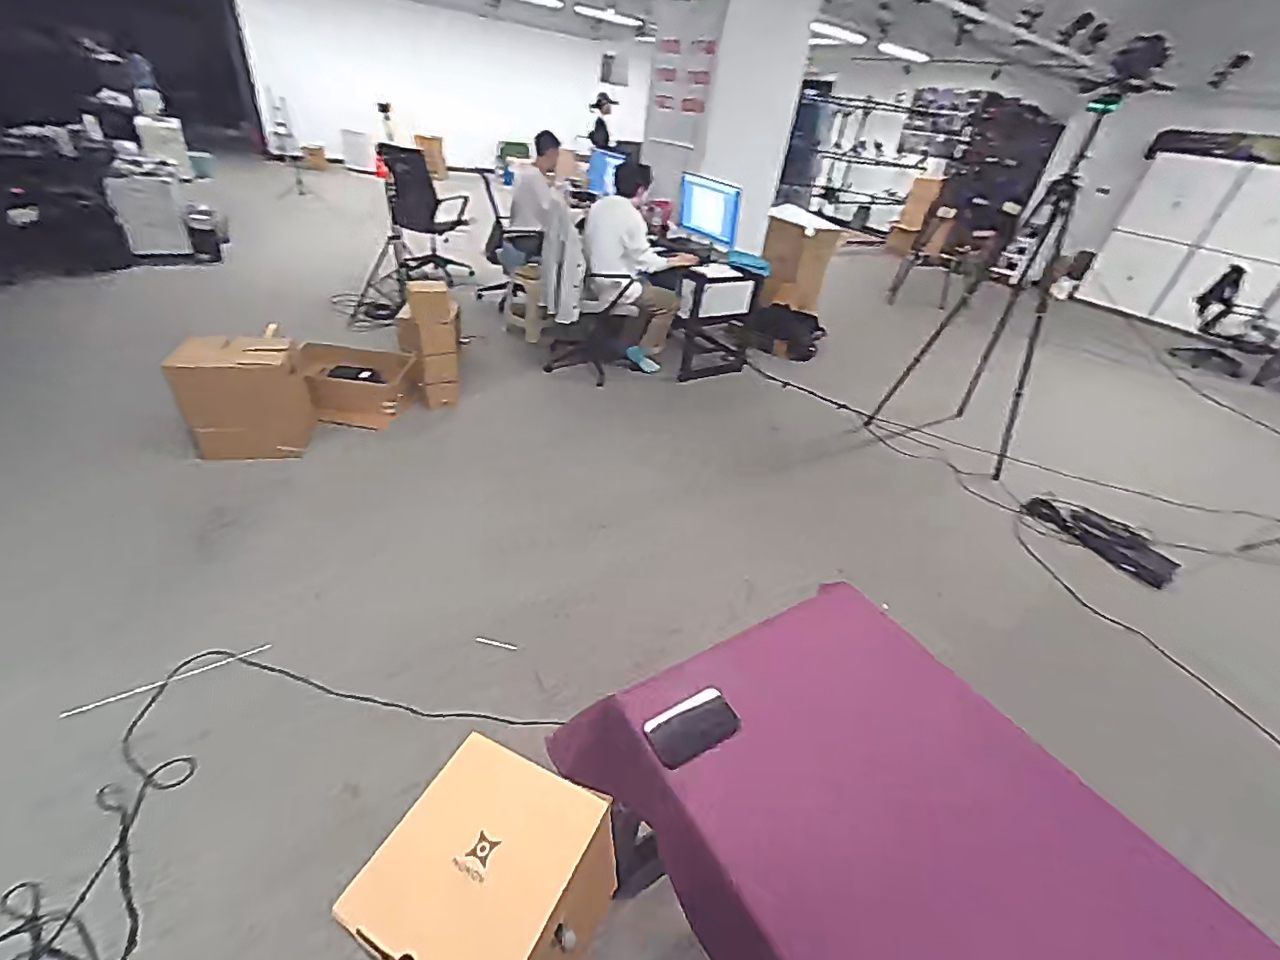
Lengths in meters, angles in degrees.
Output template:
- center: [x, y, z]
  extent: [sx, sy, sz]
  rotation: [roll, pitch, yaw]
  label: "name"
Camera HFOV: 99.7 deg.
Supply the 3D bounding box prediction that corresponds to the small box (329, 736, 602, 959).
- center: [-0.147, 0.396, 0.519]
  extent: [0.168, 0.176, 0.179]
  rotation: [14, 38, 22]
  label: "small box"
